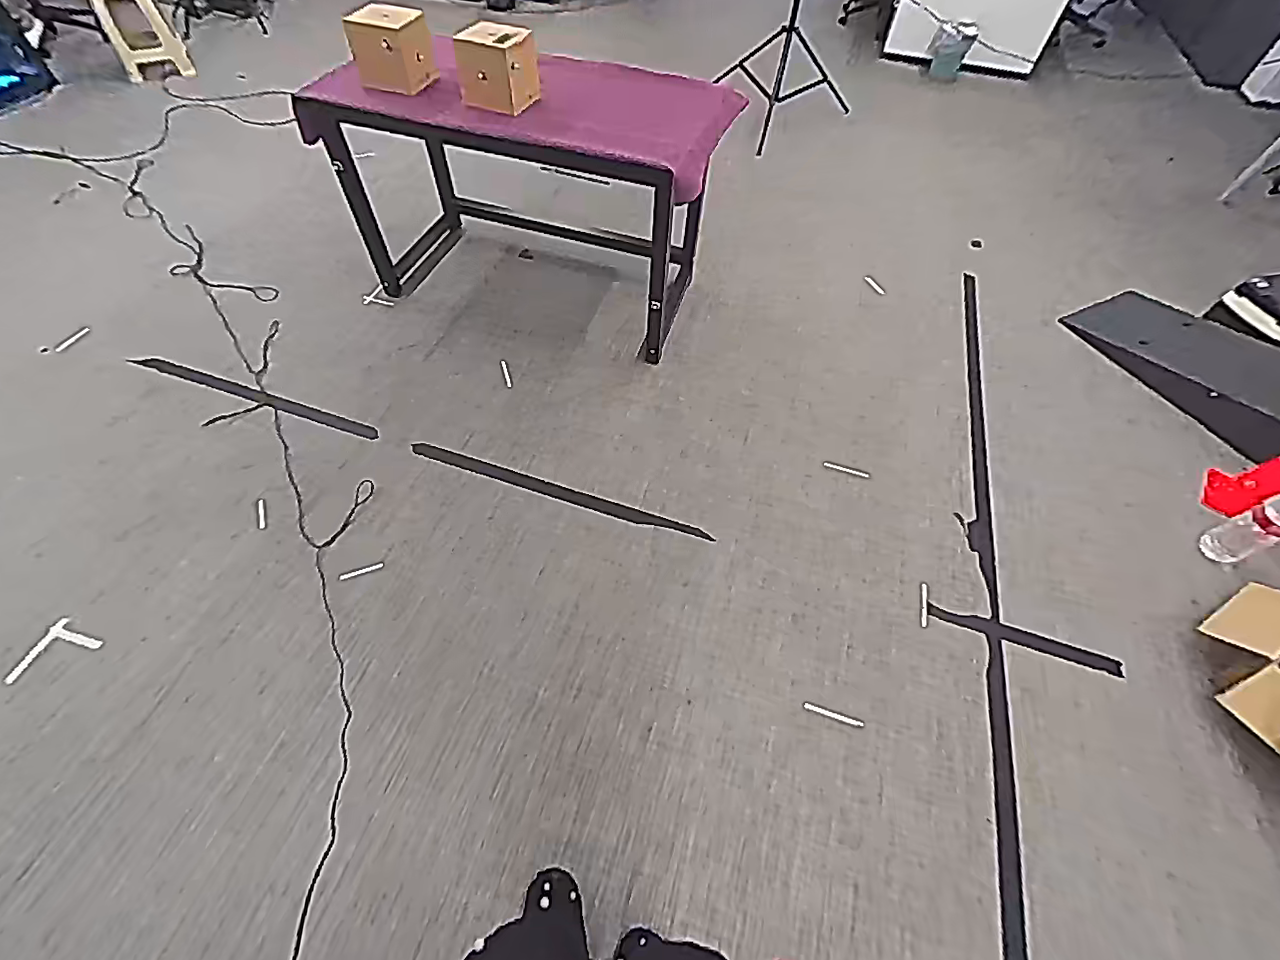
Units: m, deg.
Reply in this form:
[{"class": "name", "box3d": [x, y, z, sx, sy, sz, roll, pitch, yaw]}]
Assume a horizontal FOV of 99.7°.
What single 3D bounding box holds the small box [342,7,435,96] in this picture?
[{"class": "small box", "box3d": [-0.753, -1.296, 1.643, 0.179, 0.176, 0.168, 14, 54, 7]}]
